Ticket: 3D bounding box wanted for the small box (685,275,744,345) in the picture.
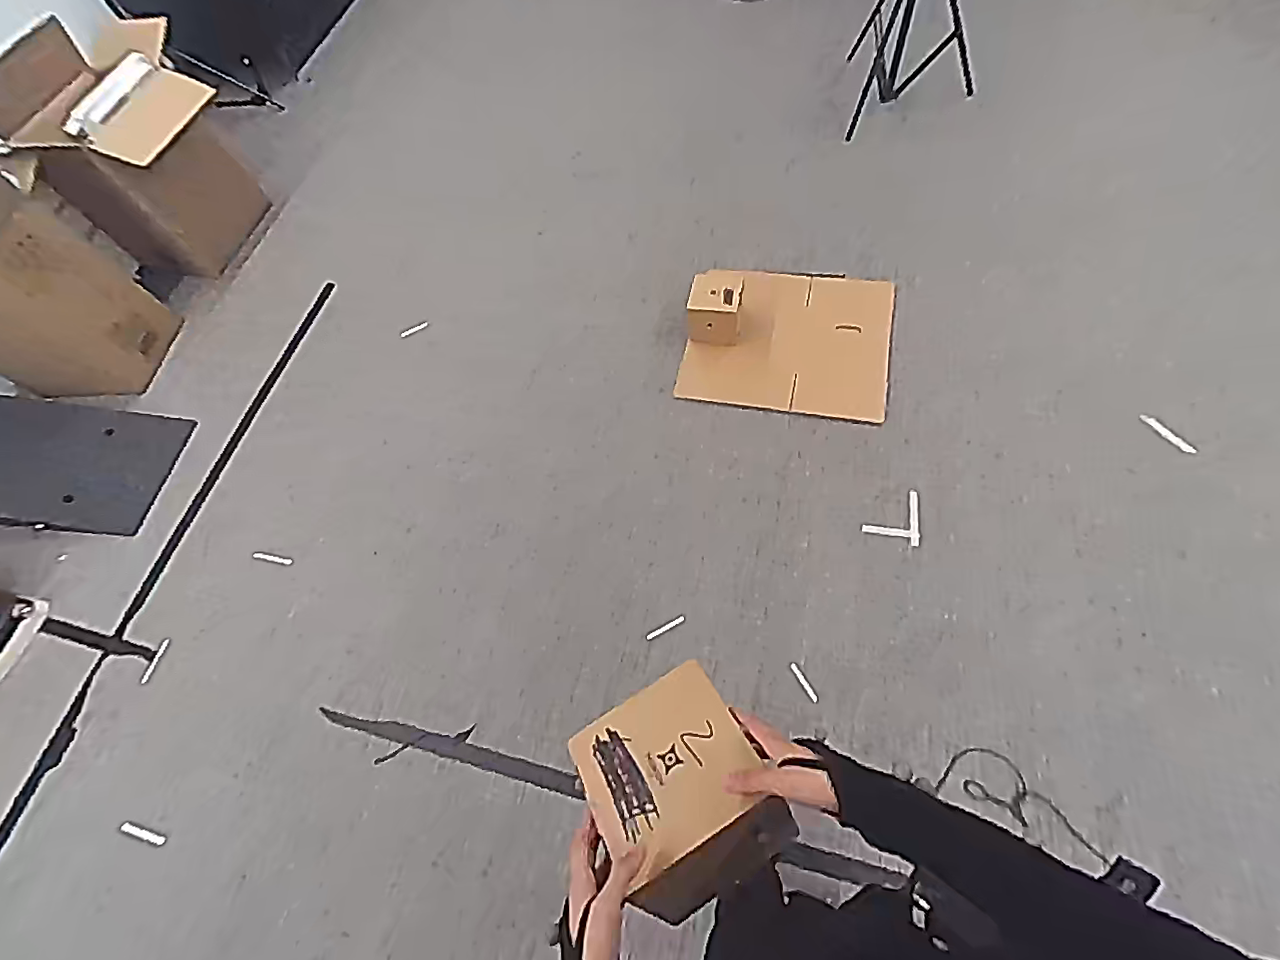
[{"bbox_3d":[0.266,-0.600,1.918,0.179,0.176,0.168,9,66,14],"label":"small box"}]
